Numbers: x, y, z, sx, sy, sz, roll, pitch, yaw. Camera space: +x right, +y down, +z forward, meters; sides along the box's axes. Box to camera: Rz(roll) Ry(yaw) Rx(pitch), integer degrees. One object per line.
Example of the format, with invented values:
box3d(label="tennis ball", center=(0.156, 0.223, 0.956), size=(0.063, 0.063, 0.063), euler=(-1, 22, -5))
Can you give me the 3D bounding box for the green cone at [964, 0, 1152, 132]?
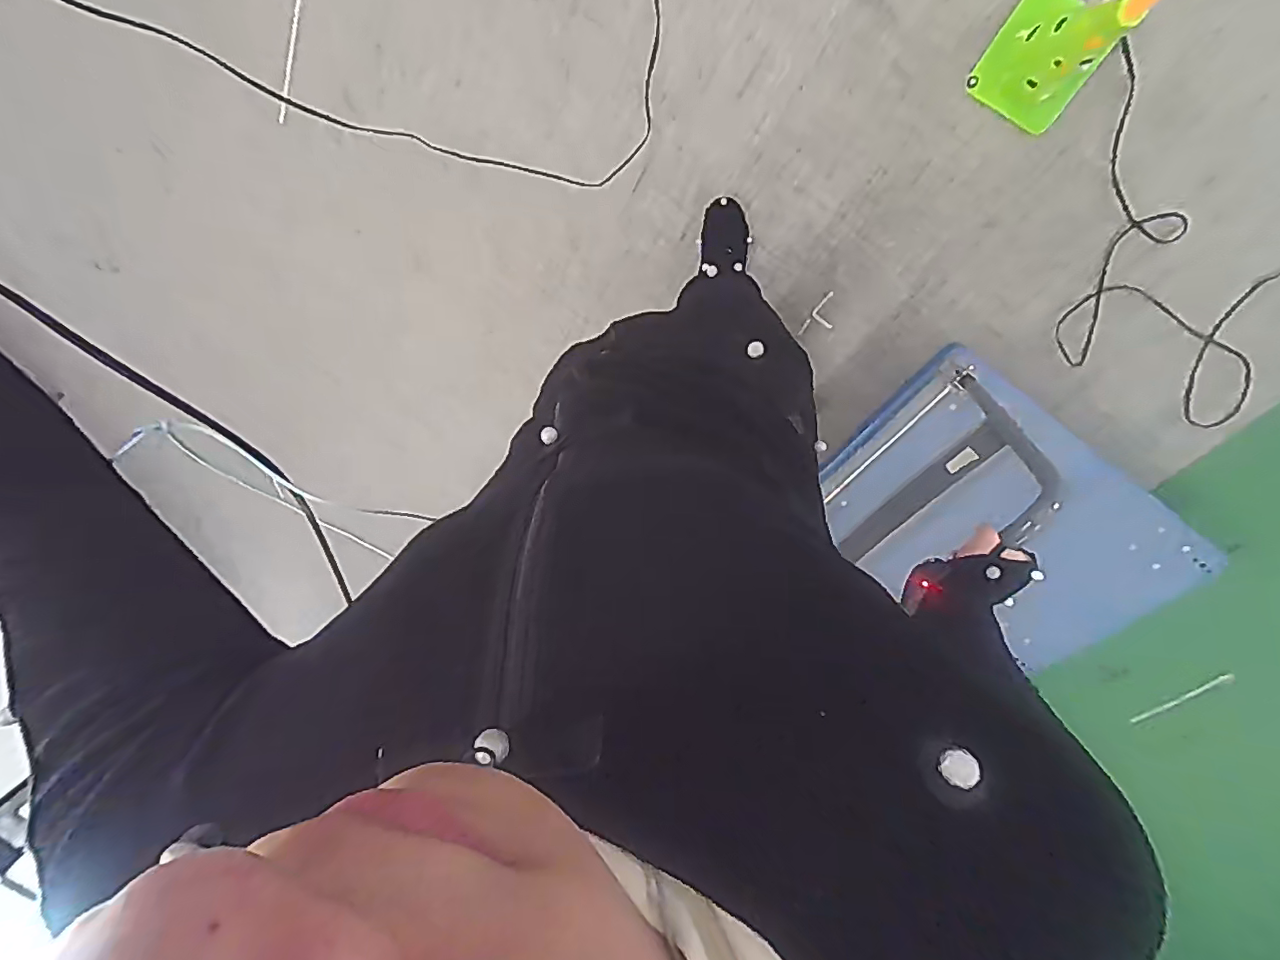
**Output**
box3d(label="green cone", center=(0.751, -0.761, 0.926), size=(0.200, 0.368, 0.202), euler=(30, 120, -2))
